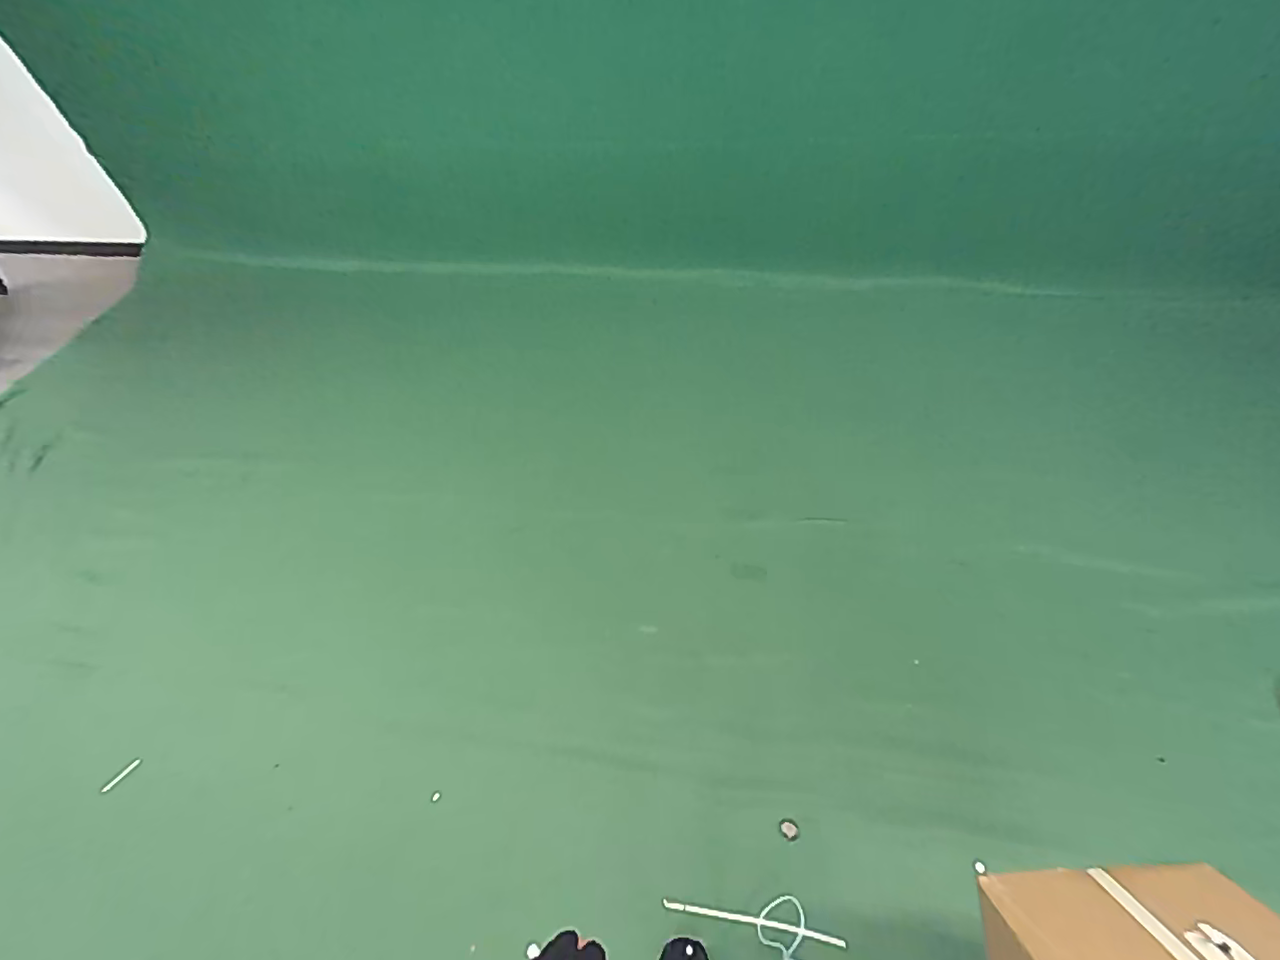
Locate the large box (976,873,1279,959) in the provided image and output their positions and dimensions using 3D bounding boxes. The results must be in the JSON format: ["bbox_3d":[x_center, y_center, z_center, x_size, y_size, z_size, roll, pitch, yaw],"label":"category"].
[{"bbox_3d":[0.631,0.708,0.559,0.320,0.408,0.320,-6,88,5],"label":"large box"}]
